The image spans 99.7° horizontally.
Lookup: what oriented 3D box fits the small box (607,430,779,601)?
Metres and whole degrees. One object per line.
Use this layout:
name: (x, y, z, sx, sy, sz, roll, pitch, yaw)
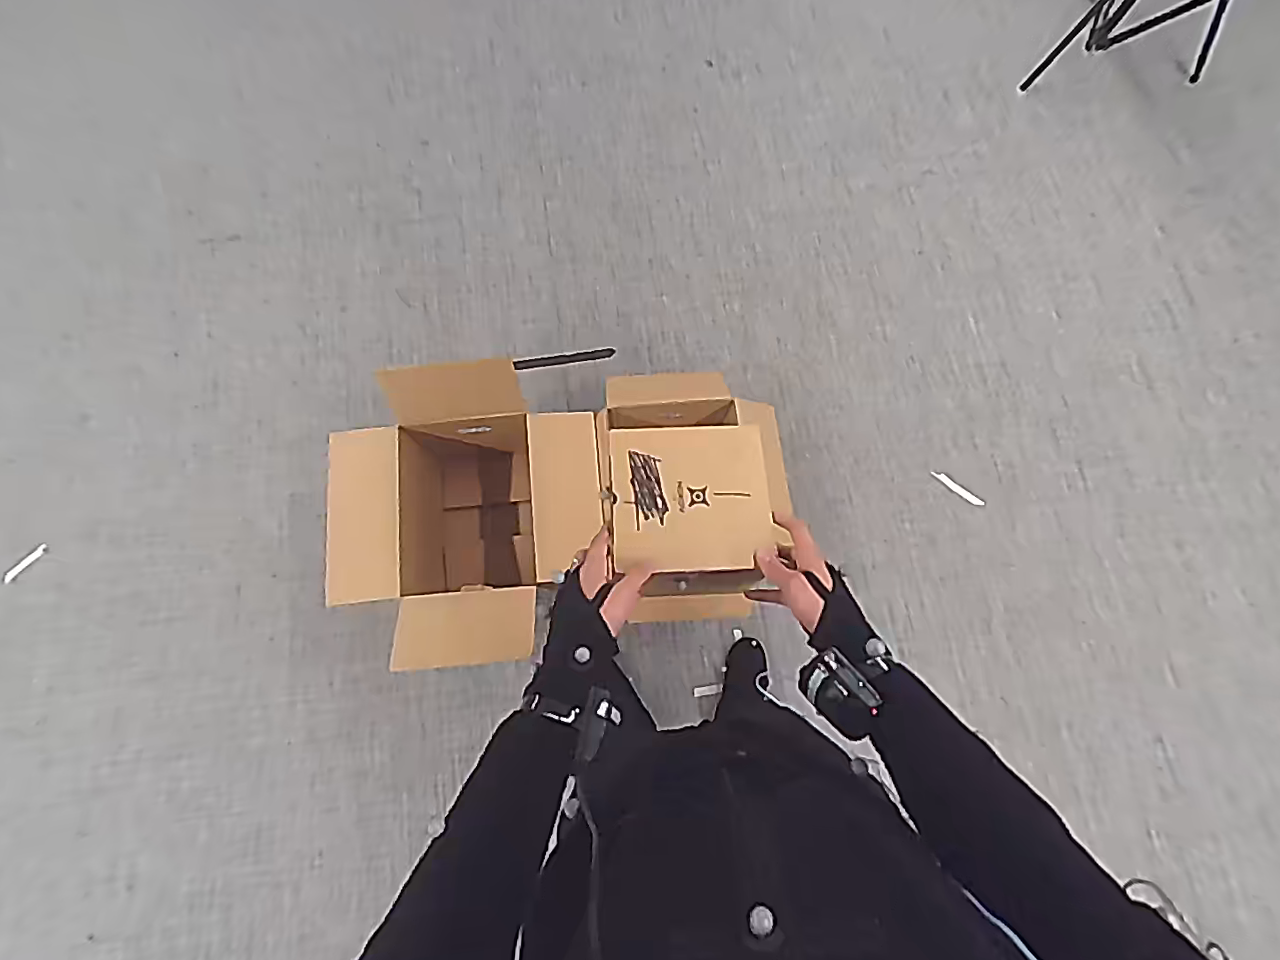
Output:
small box: (0.052, 0.050, 0.654, 0.179, 0.176, 0.168, -2, 69, -3)
